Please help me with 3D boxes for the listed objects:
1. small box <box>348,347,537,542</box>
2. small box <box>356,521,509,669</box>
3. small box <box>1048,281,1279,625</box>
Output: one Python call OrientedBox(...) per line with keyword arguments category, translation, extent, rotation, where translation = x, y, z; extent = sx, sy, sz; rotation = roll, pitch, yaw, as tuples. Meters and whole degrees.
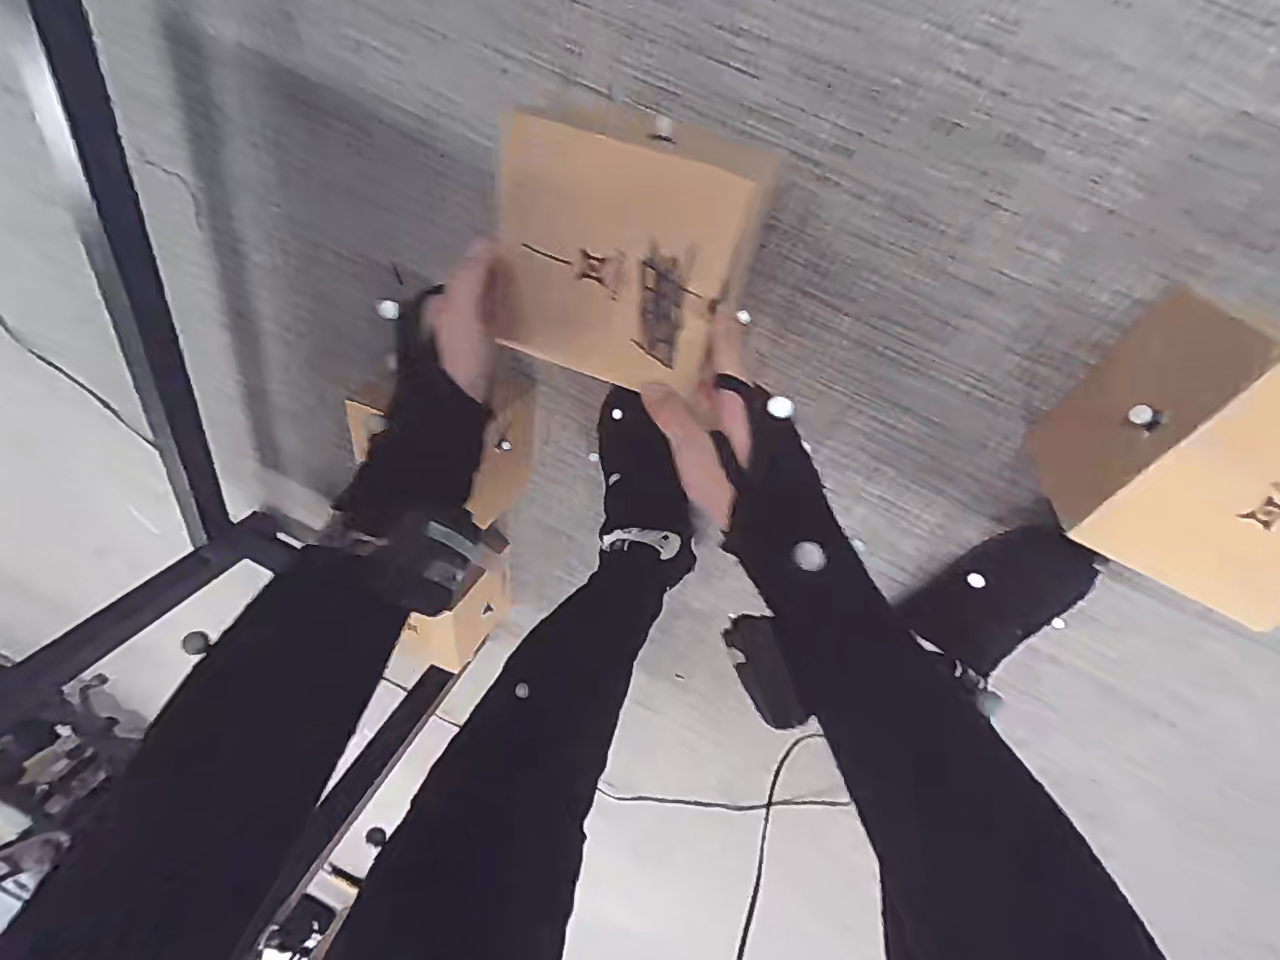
OrientedBox(category="small box", translation=(-0.252, -0.056, 0.725), extent=(0.168, 0.176, 0.179), rotation=(22, 128, 10))
OrientedBox(category="small box", translation=(-0.338, 0.180, 0.919), extent=(0.179, 0.176, 0.168), rotation=(20, 127, 11))
OrientedBox(category="small box", translation=(0.469, -0.028, 0.428), extent=(0.168, 0.176, 0.179), rotation=(28, 128, 4))
